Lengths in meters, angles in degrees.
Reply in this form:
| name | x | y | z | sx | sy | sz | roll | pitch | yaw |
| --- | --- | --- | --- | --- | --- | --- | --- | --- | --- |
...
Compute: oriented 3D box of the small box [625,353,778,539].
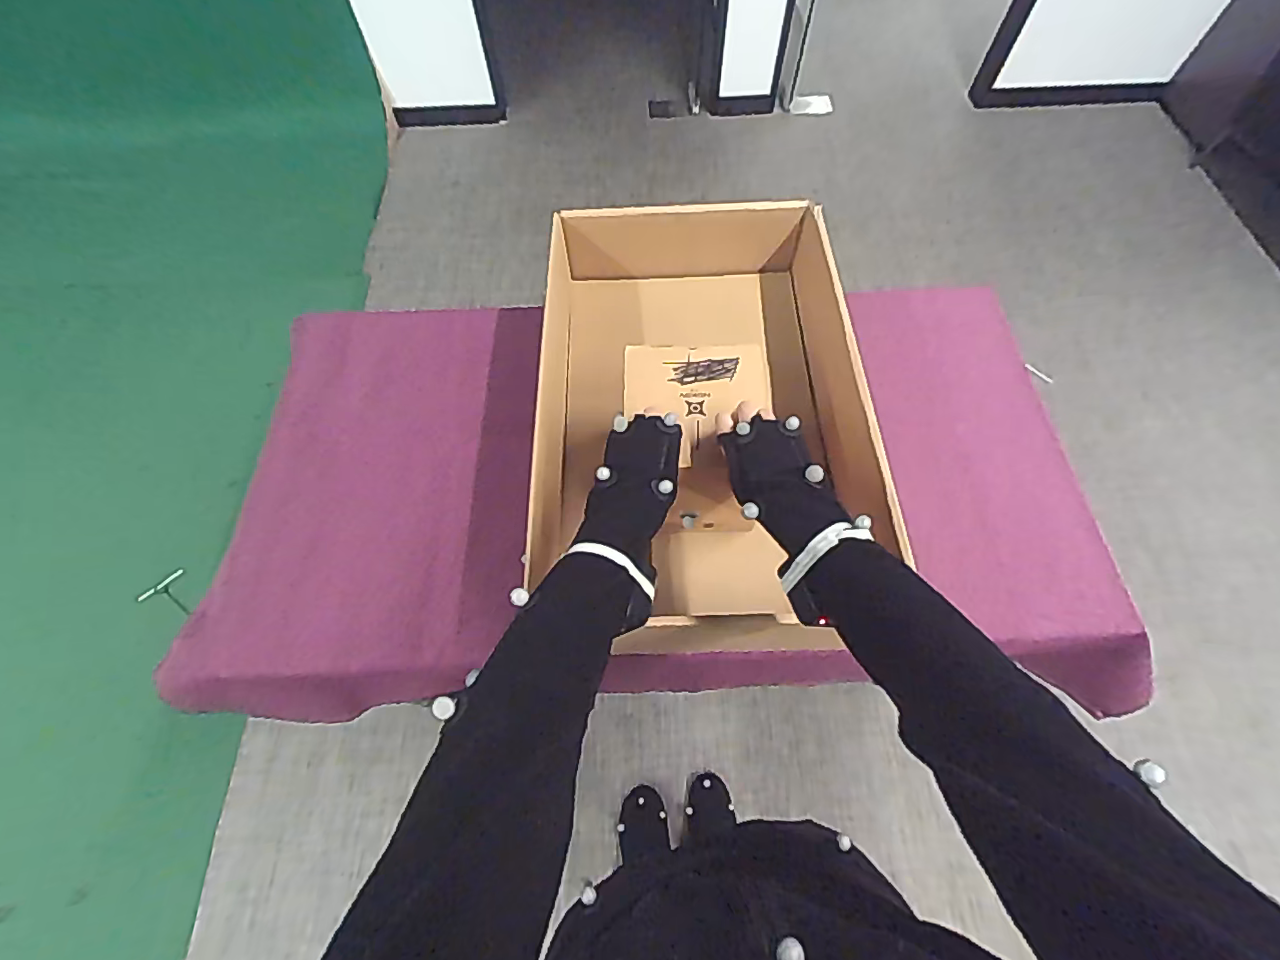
| name | x | y | z | sx | sy | sz | roll | pitch | yaw |
| --- | --- | --- | --- | --- | --- | --- | --- | --- | --- |
| small box | 0.067 | -0.039 | 0.683 | 0.168 | 0.176 | 0.179 | -1 | 61 | 1 |
